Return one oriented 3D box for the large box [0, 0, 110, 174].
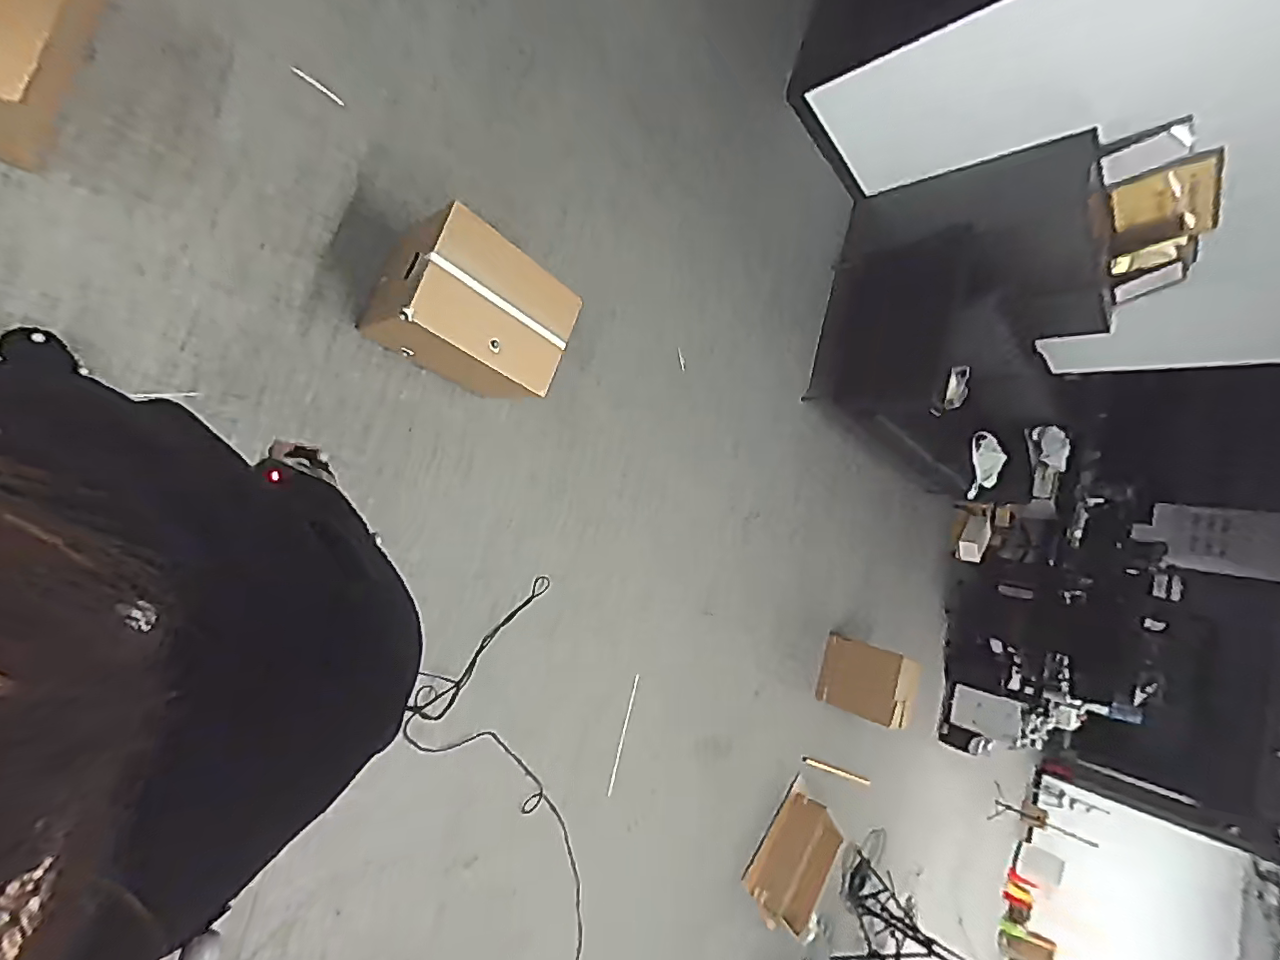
[{"bbox_3d":[-1.069,-0.776,0.814,0.320,0.320,0.408,20,80,-44],"label":"large box"}]
